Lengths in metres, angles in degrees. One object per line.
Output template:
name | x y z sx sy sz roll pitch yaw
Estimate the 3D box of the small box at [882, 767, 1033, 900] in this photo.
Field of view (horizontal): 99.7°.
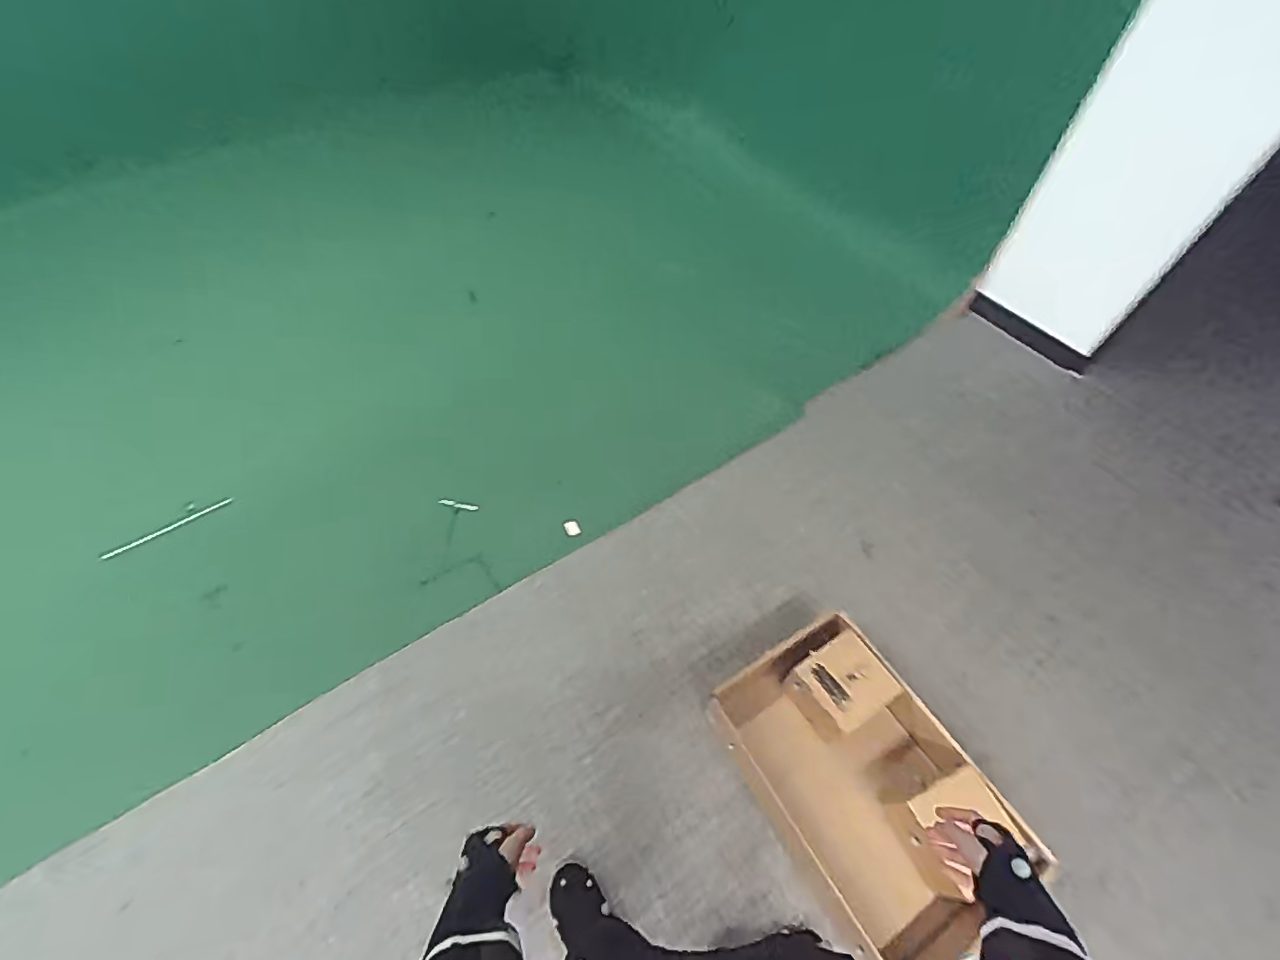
small box | 0.633 0.722 1.107 0.168 0.176 0.179 -20 57 -10
